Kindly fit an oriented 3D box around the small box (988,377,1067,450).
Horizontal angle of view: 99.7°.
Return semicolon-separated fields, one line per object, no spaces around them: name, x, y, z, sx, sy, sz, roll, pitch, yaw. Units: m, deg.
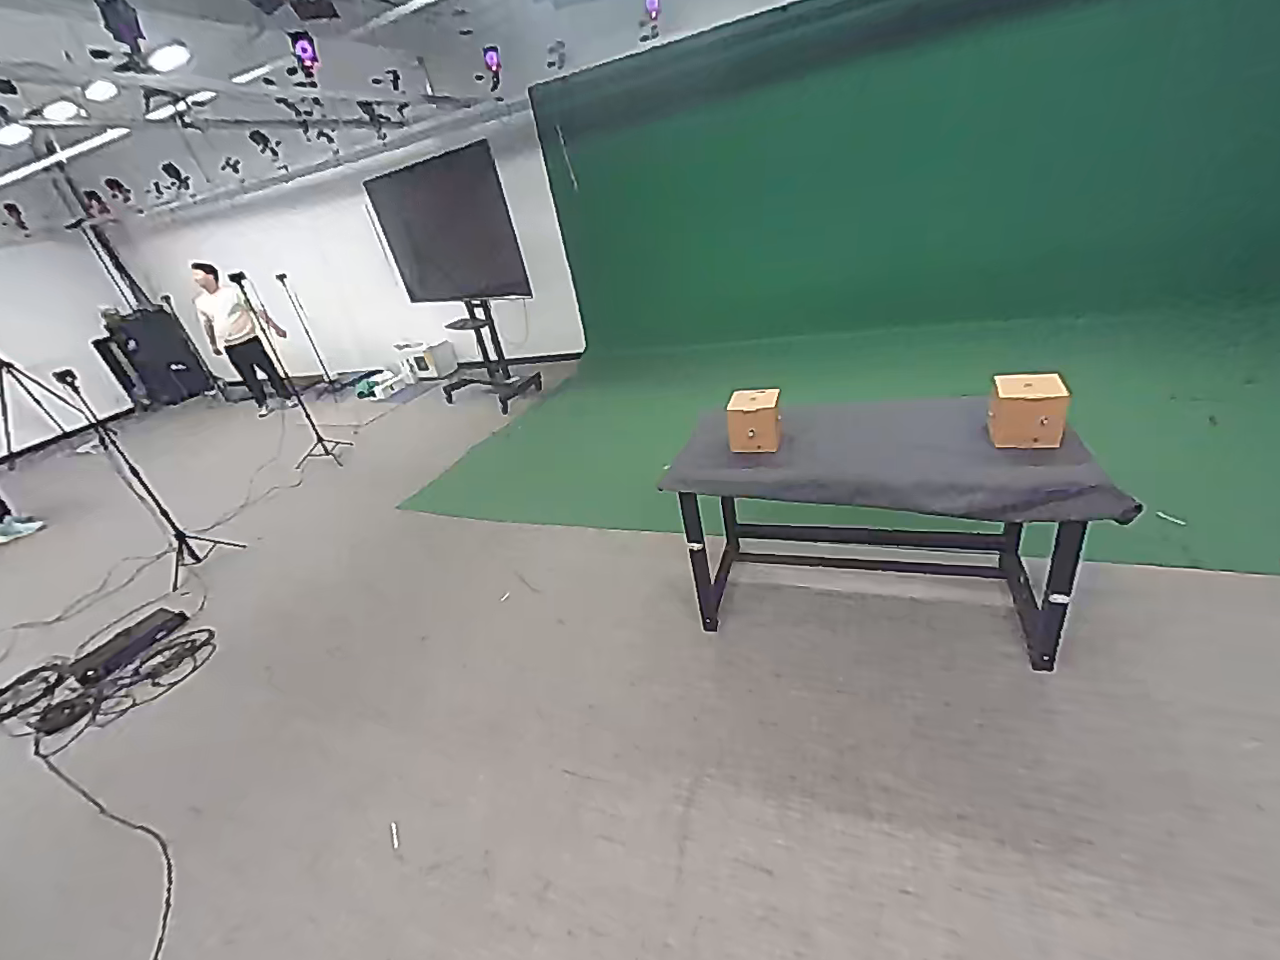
small box;1.171;-0.201;1.645;0.168;0.176;0.179;3;31;25

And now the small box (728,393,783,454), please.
small box;0.422;-0.200;1.947;0.168;0.176;0.179;0;31;21
